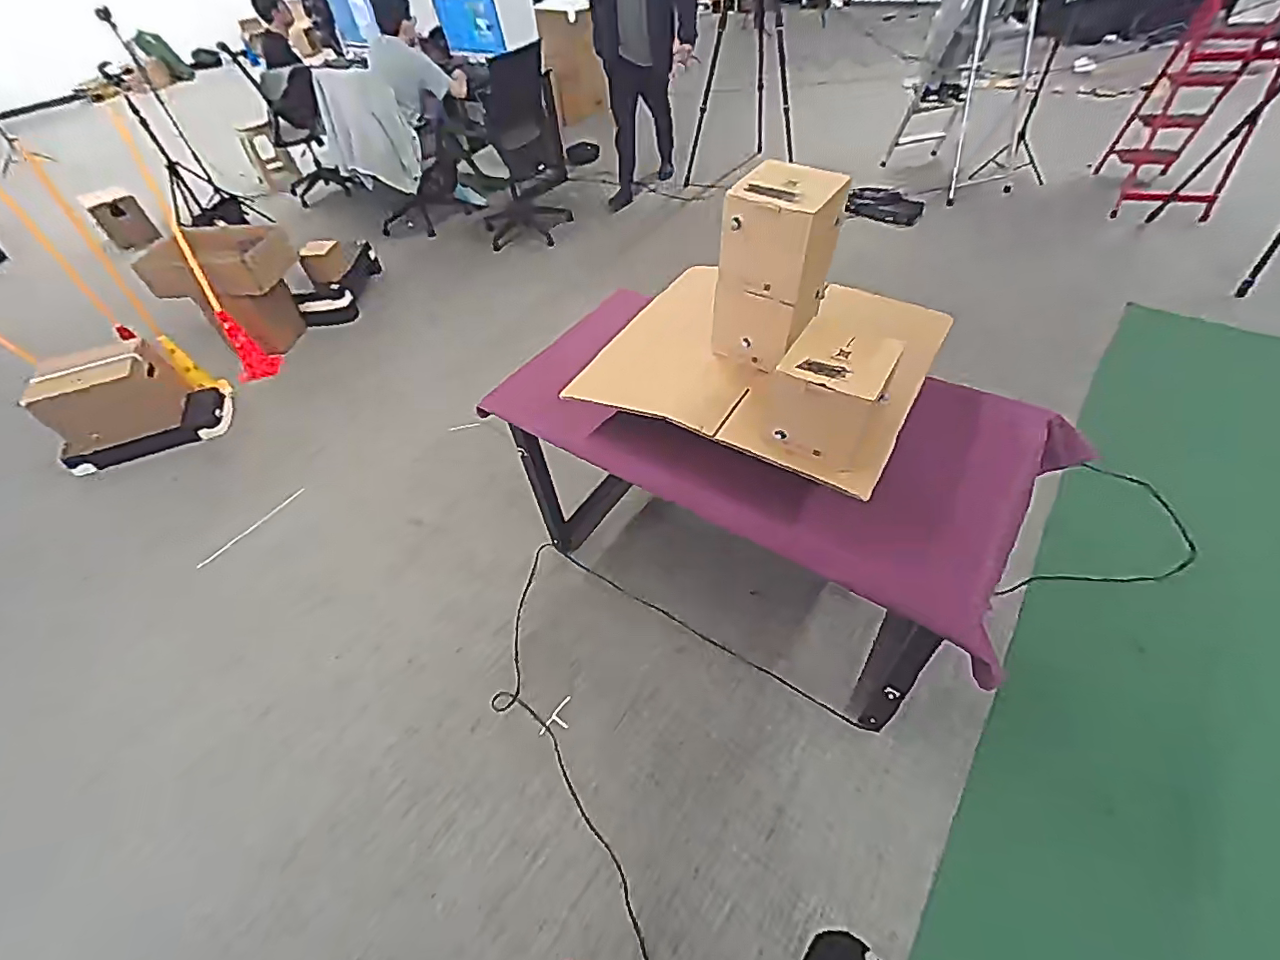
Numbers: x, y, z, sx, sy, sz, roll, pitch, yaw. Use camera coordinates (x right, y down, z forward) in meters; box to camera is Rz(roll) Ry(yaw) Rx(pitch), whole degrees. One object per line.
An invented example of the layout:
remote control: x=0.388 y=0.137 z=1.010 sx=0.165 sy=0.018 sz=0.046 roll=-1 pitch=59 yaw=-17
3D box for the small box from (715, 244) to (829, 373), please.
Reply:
small box: x=0.267 y=-0.356 z=1.128 sx=0.168 sy=0.176 sz=0.179 roll=26 pitch=58 yaw=23

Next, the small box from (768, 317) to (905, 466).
small box: x=0.339 y=-0.154 z=0.958 sx=0.168 sy=0.176 sz=0.179 roll=25 pitch=56 yaw=22
